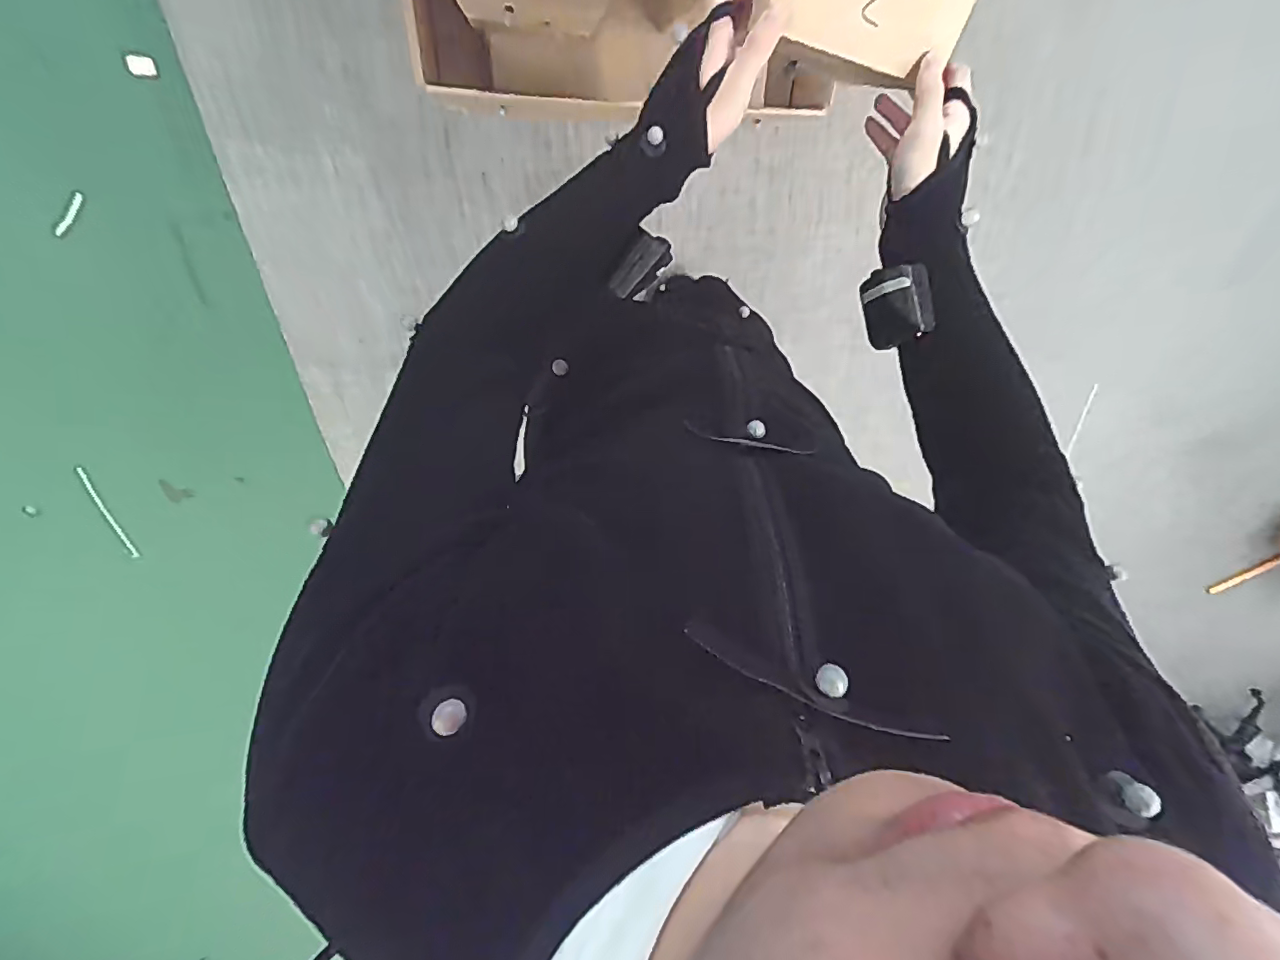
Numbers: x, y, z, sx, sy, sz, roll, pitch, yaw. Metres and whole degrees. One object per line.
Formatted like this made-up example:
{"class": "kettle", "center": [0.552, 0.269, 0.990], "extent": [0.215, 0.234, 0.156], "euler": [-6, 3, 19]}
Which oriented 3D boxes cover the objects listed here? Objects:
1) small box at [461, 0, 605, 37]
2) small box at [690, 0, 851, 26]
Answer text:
{"class": "small box", "center": [-0.120, -0.622, 0.600], "extent": [0.168, 0.176, 0.179], "euler": [0, 121, -11]}
{"class": "small box", "center": [0.155, -0.655, 0.627], "extent": [0.168, 0.176, 0.179], "euler": [-3, 121, -9]}
